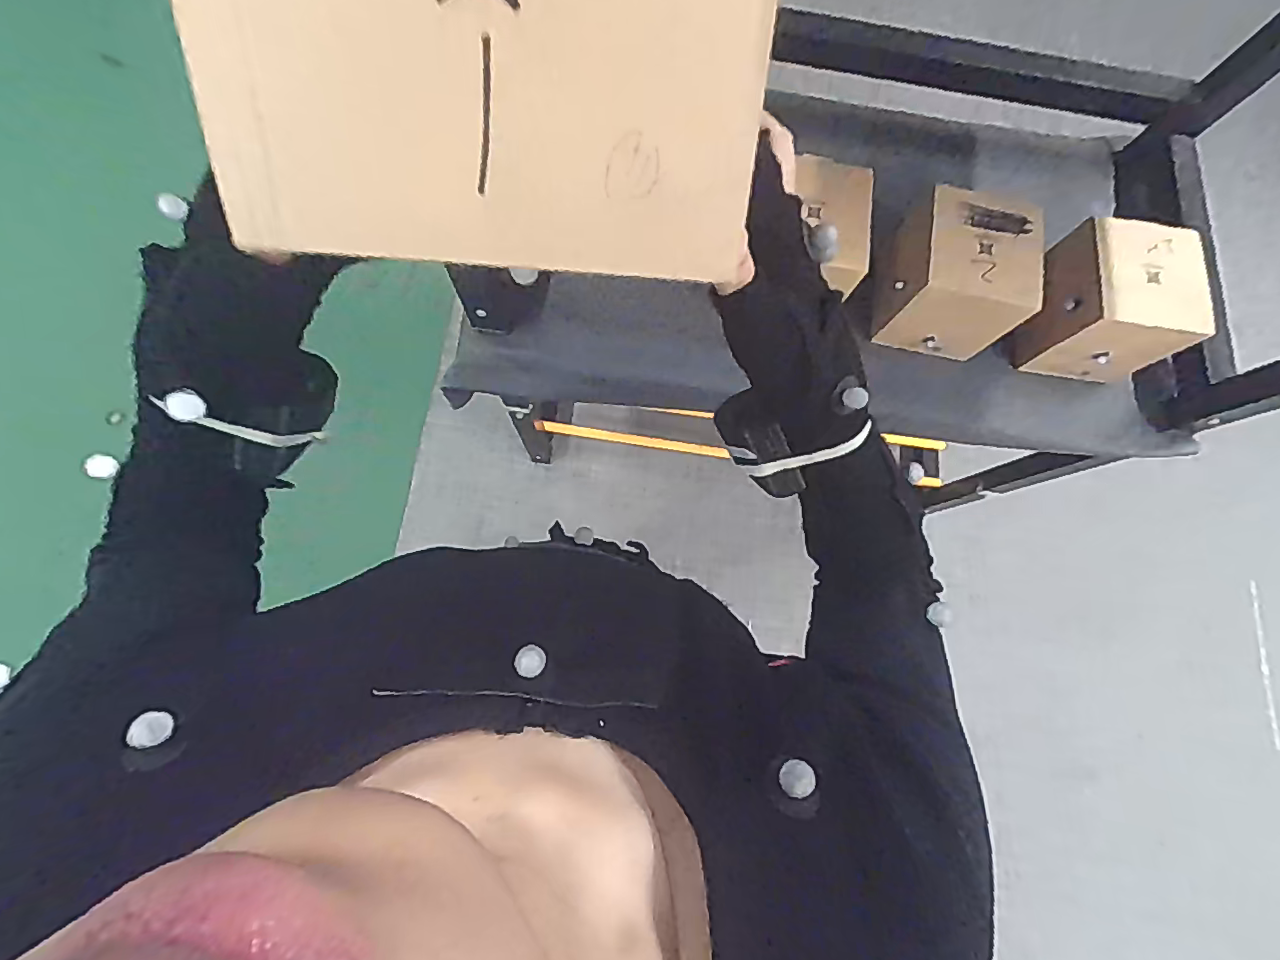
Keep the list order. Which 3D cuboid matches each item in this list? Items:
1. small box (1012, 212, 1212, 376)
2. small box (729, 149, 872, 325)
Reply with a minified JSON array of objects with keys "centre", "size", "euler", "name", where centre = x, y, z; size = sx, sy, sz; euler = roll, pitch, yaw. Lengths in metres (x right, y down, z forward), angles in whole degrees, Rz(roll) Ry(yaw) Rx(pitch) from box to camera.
[{"centre":[0.726,-0.282,0.854],"size":[0.168,0.176,0.179],"euler":[8,75,-3],"name":"small box"},{"centre":[0.240,-0.365,0.841],"size":[0.168,0.176,0.179],"euler":[8,76,-2],"name":"small box"}]
